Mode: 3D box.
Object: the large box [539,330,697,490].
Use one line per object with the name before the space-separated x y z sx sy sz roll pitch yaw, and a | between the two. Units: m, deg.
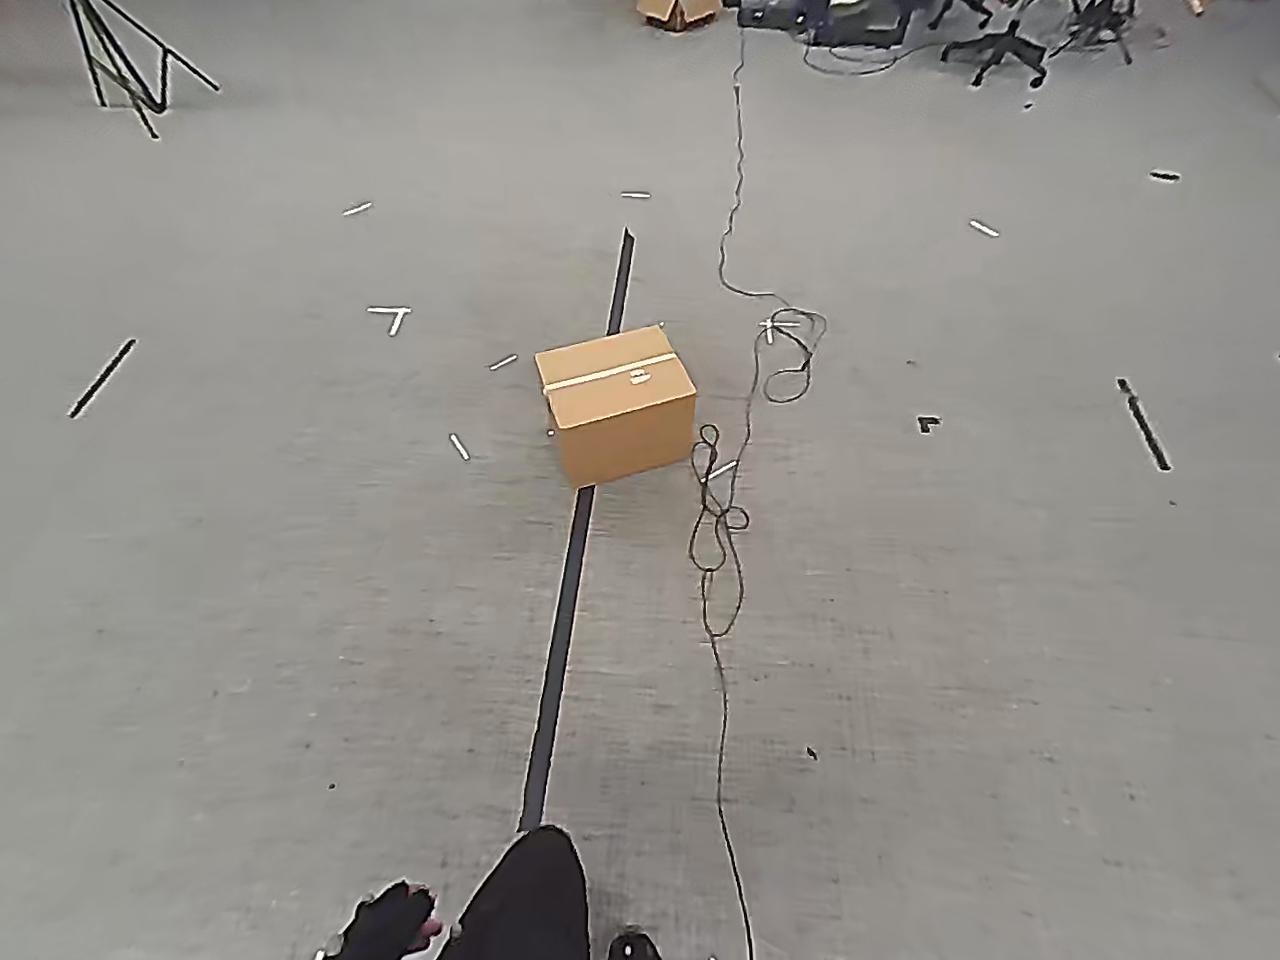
large box | -0.071 -0.217 1.708 0.408 0.320 0.320 -16 57 -11
